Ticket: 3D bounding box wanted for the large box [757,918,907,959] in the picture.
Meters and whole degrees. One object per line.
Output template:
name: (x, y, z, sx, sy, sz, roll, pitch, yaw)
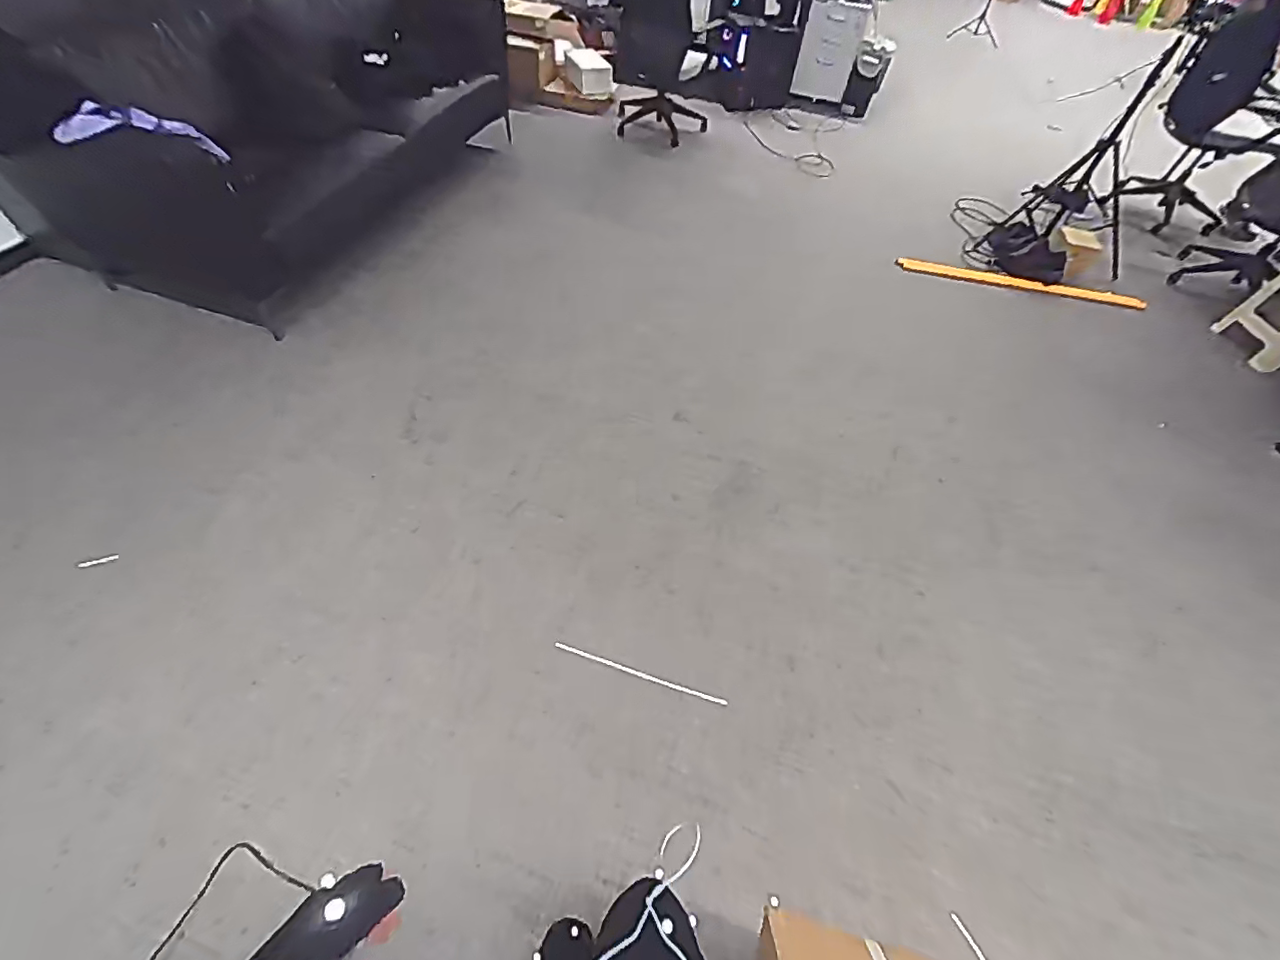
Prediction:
large box: (0.289, 0.841, 0.615, 0.320, 0.408, 0.320, 16, 87, 5)
